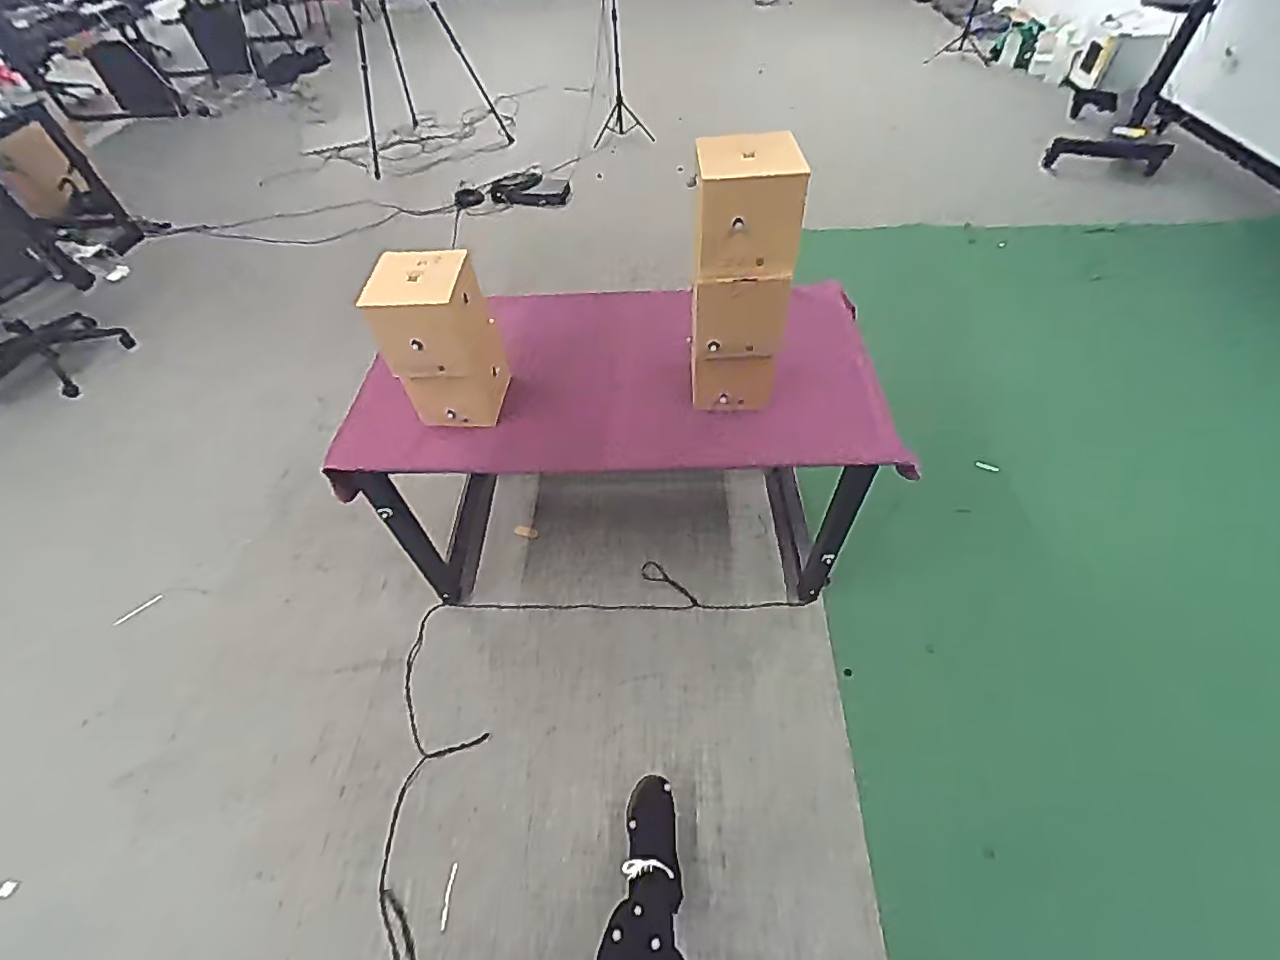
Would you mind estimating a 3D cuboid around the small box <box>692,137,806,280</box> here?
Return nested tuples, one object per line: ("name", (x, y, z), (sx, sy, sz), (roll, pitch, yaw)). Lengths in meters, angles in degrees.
("small box", (0.178, -0.460, 0.932), (0.168, 0.176, 0.179), (-3, 50, 3))

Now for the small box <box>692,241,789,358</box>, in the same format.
("small box", (0.186, -0.350, 1.050), (0.168, 0.176, 0.179), (-1, 50, 4))

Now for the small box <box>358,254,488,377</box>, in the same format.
("small box", (-0.407, -0.314, 1.052), (0.168, 0.176, 0.179), (-1, 52, 2))

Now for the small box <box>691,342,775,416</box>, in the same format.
("small box", (0.197, -0.262, 1.190), (0.168, 0.176, 0.179), (0, 51, 5))
